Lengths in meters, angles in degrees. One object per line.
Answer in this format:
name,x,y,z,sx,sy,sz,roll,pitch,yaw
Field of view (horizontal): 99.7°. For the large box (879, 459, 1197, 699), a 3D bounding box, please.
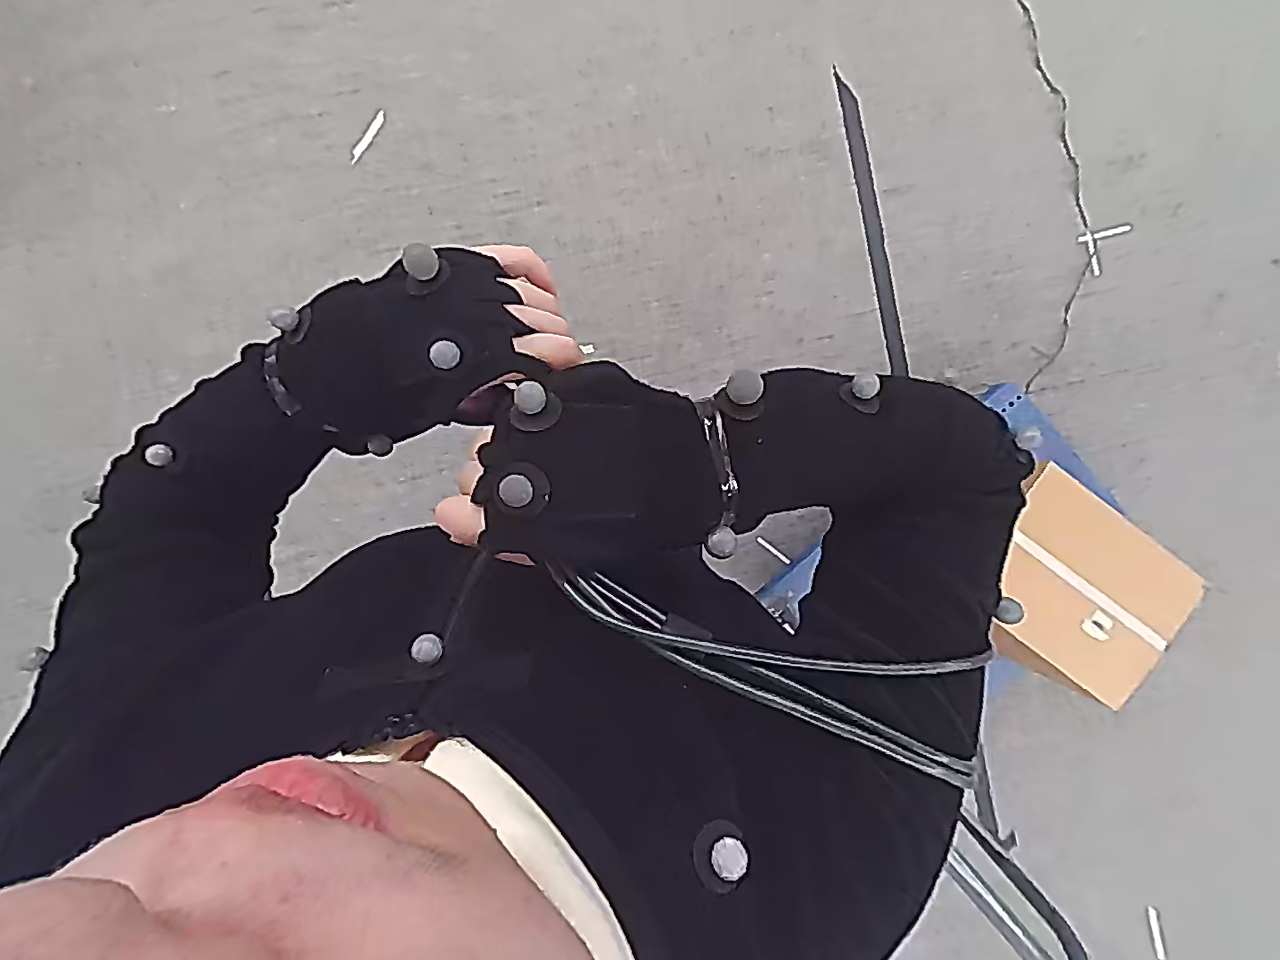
large box,0.834,0.189,1.192,0.408,0.320,0.320,37,91,-3
